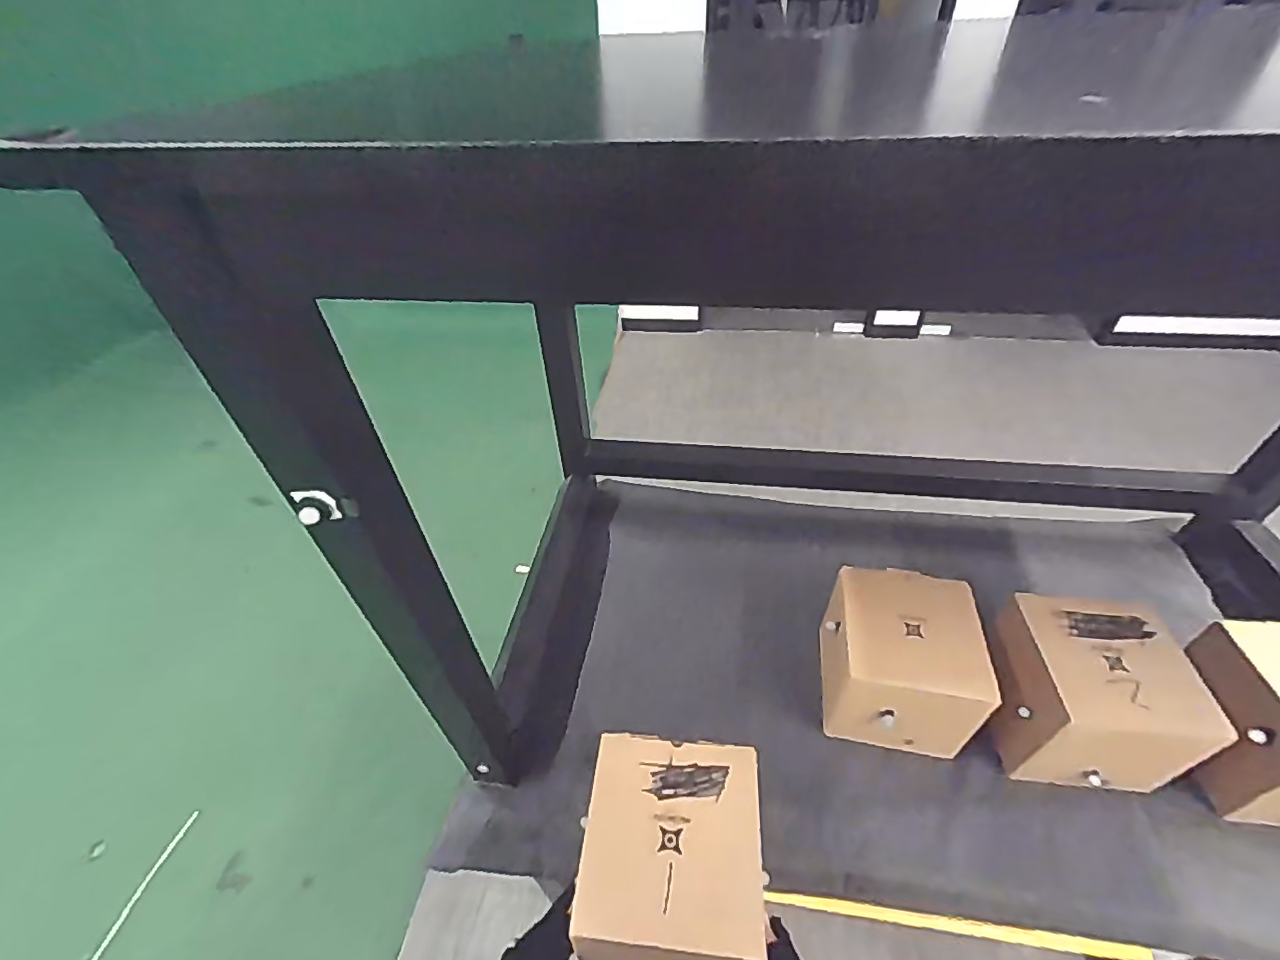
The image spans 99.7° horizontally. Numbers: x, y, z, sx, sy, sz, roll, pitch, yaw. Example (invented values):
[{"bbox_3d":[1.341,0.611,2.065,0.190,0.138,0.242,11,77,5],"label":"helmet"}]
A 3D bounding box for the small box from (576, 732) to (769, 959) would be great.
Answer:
[{"bbox_3d":[0.036,0.395,0.562,0.168,0.176,0.179,3,38,6],"label":"small box"}]

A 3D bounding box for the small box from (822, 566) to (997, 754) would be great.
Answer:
[{"bbox_3d":[0.350,0.247,0.742,0.168,0.176,0.179,6,42,11],"label":"small box"}]

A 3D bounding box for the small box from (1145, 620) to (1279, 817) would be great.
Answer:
[{"bbox_3d":[0.787,0.296,0.654,0.168,0.176,0.179,3,42,6],"label":"small box"}]
